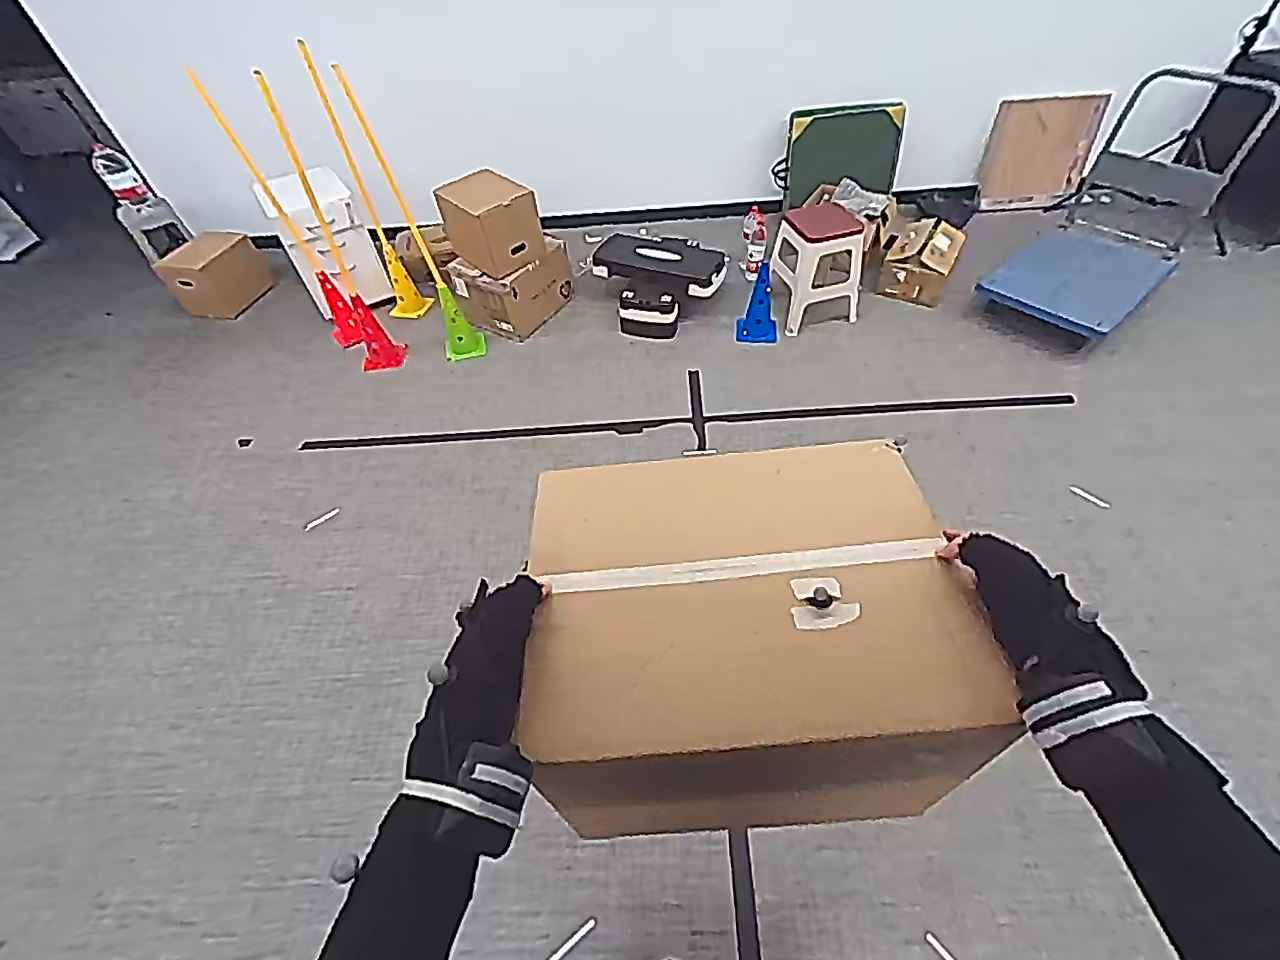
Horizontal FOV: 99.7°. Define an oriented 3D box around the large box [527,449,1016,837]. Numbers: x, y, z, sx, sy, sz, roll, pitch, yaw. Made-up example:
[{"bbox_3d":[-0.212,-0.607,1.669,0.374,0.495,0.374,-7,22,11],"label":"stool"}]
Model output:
[{"bbox_3d":[0.106,0.196,0.639,0.408,0.320,0.320,-6,47,2],"label":"large box"}]
